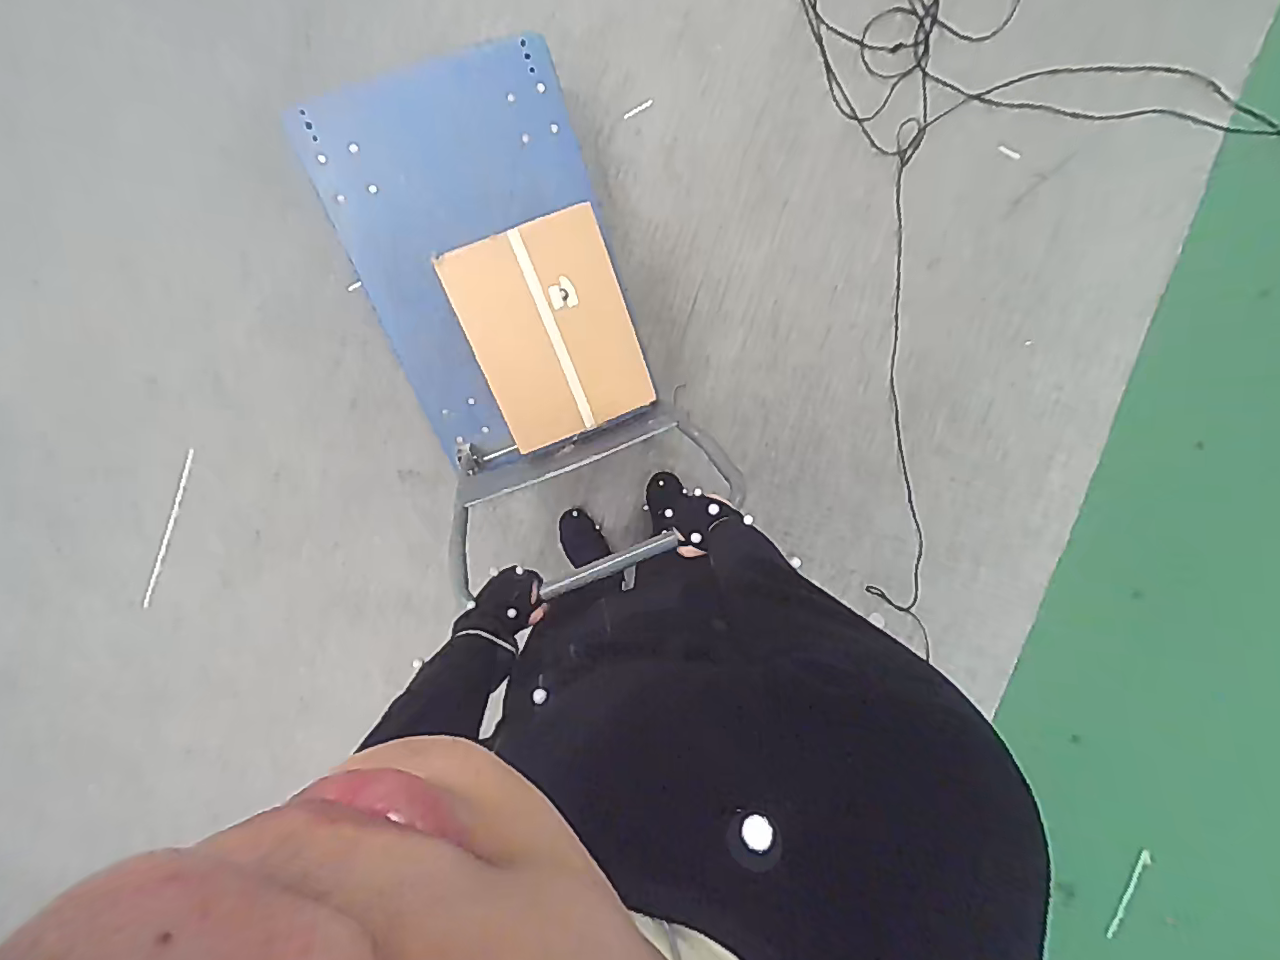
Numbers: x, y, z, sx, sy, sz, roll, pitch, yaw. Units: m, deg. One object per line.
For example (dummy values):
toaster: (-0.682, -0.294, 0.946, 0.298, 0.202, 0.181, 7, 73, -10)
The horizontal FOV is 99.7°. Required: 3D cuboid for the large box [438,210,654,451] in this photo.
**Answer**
large box: (-0.203, -0.333, 1.228, 0.320, 0.320, 0.408, -23, 111, -6)
